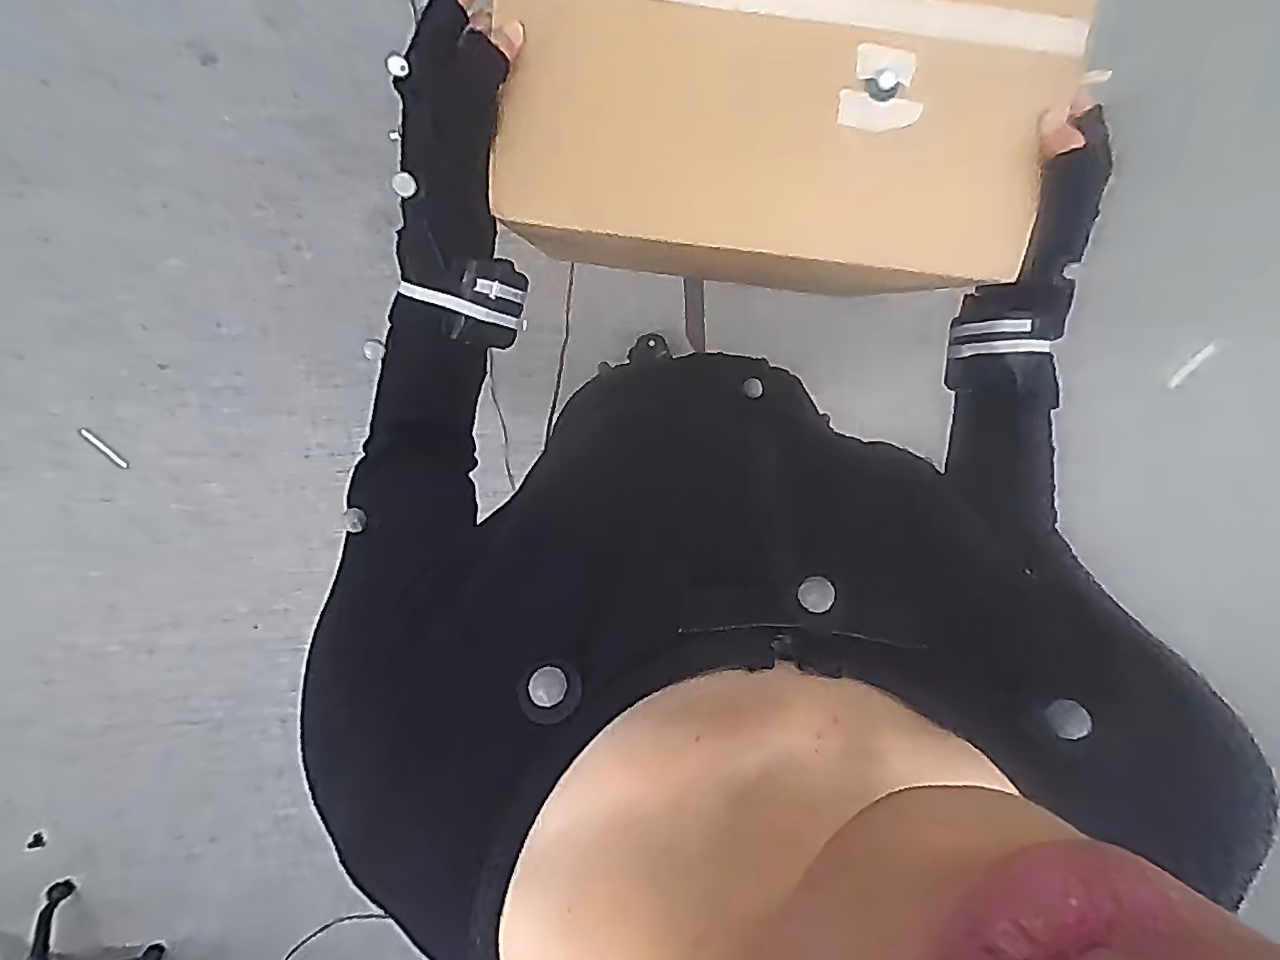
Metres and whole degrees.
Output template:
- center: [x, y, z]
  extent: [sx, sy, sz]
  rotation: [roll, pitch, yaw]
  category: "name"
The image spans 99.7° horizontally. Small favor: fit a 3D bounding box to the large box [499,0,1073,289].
- center: [0.098, -0.372, 0.518]
  extent: [0.408, 0.320, 0.320]
  rotation: [5, 106, -3]
  category: "large box"
